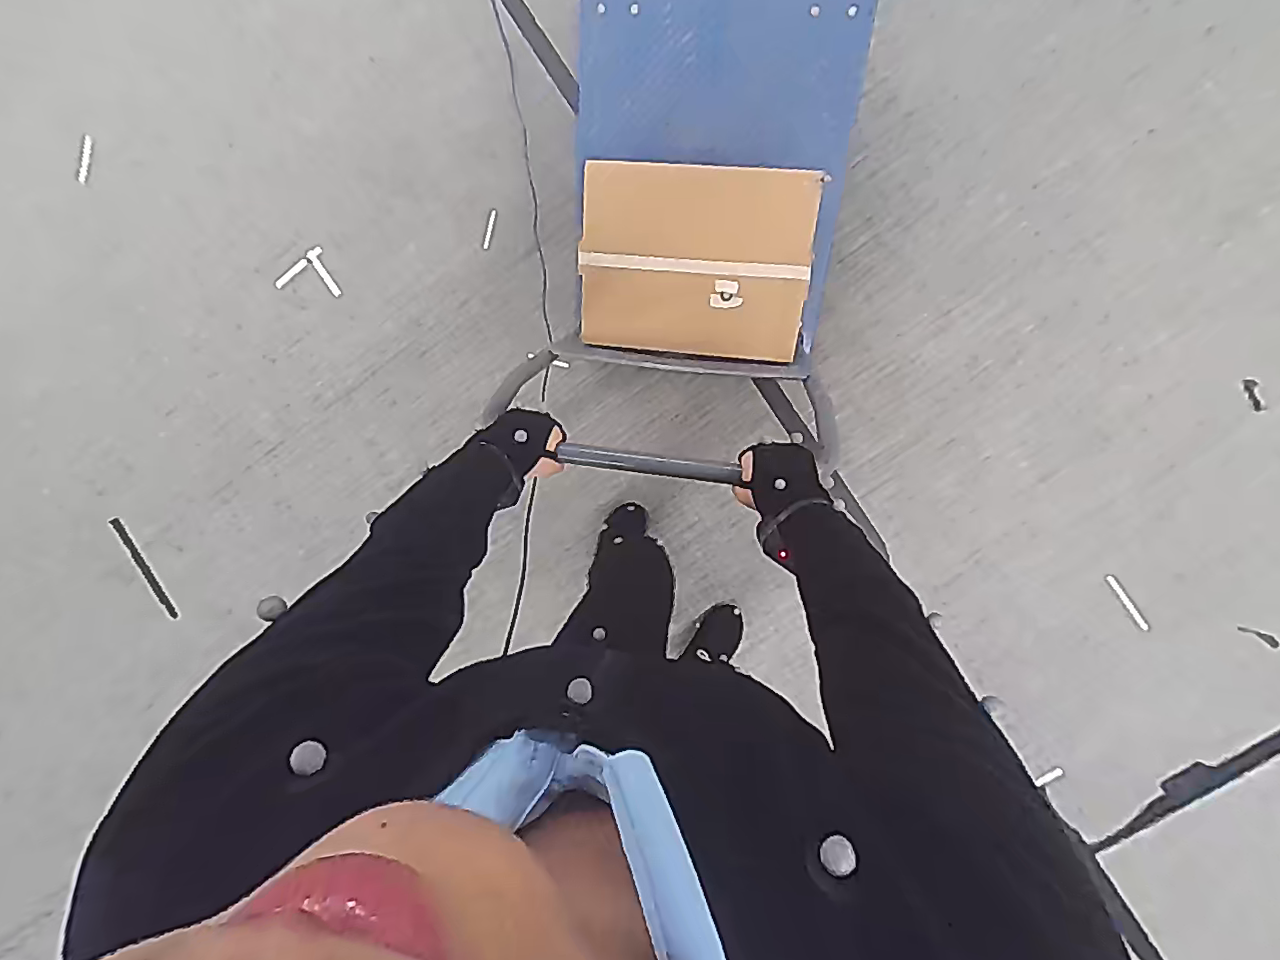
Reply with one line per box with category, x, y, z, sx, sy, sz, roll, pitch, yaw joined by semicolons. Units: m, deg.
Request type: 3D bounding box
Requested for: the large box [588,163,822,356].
large box;0.121;-0.445;1.114;0.408;0.320;0.320;7;113;7
